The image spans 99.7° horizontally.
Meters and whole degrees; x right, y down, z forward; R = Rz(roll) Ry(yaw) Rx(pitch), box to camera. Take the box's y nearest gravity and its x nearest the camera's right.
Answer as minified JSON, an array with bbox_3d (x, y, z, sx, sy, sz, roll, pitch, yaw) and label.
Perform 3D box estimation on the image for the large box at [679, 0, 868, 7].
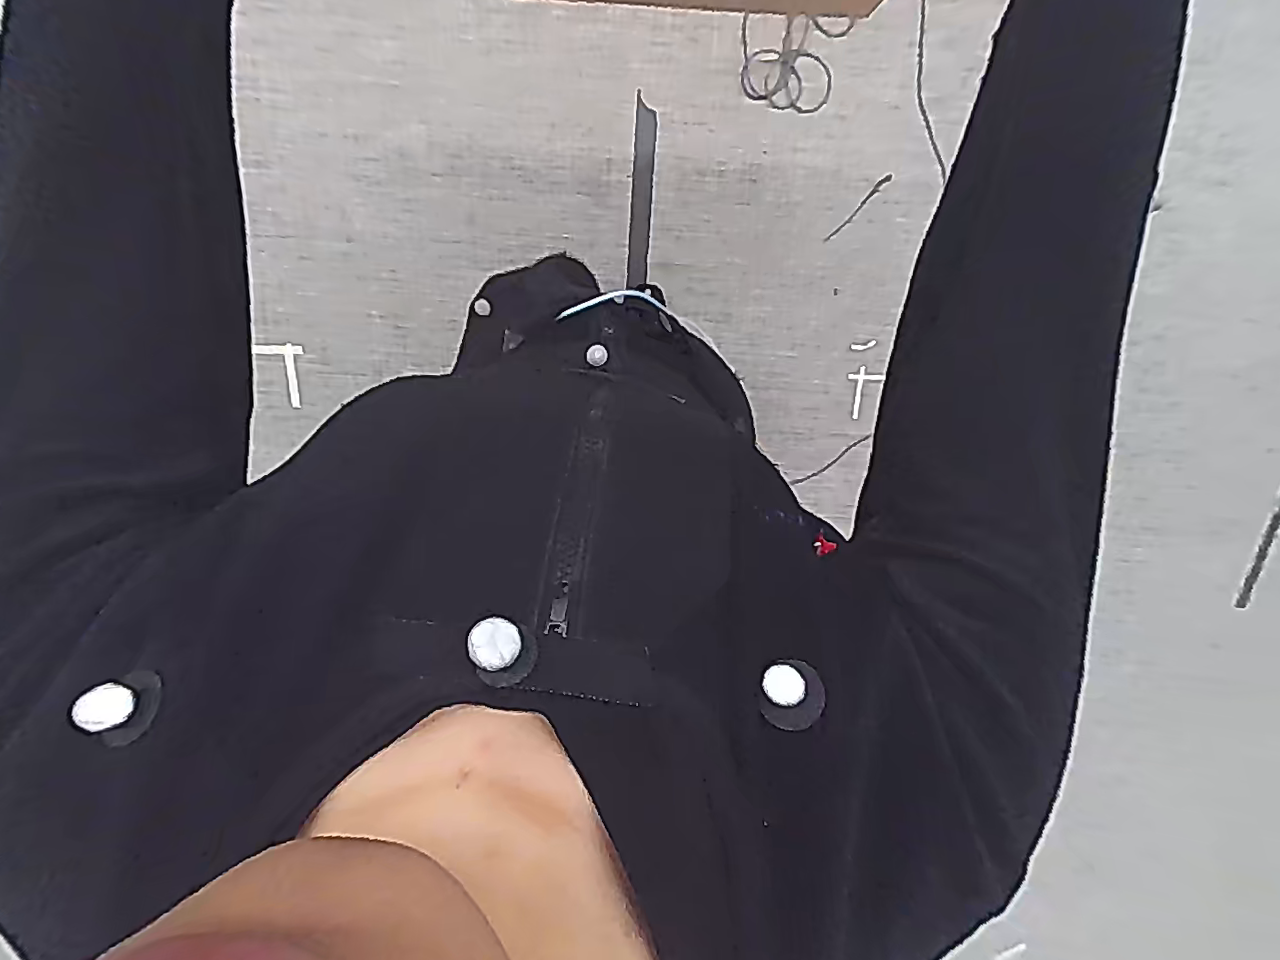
[{"bbox_3d":[0.030,-0.559,0.351,0.408,0.320,0.320,4,117,1],"label":"large box"}]
